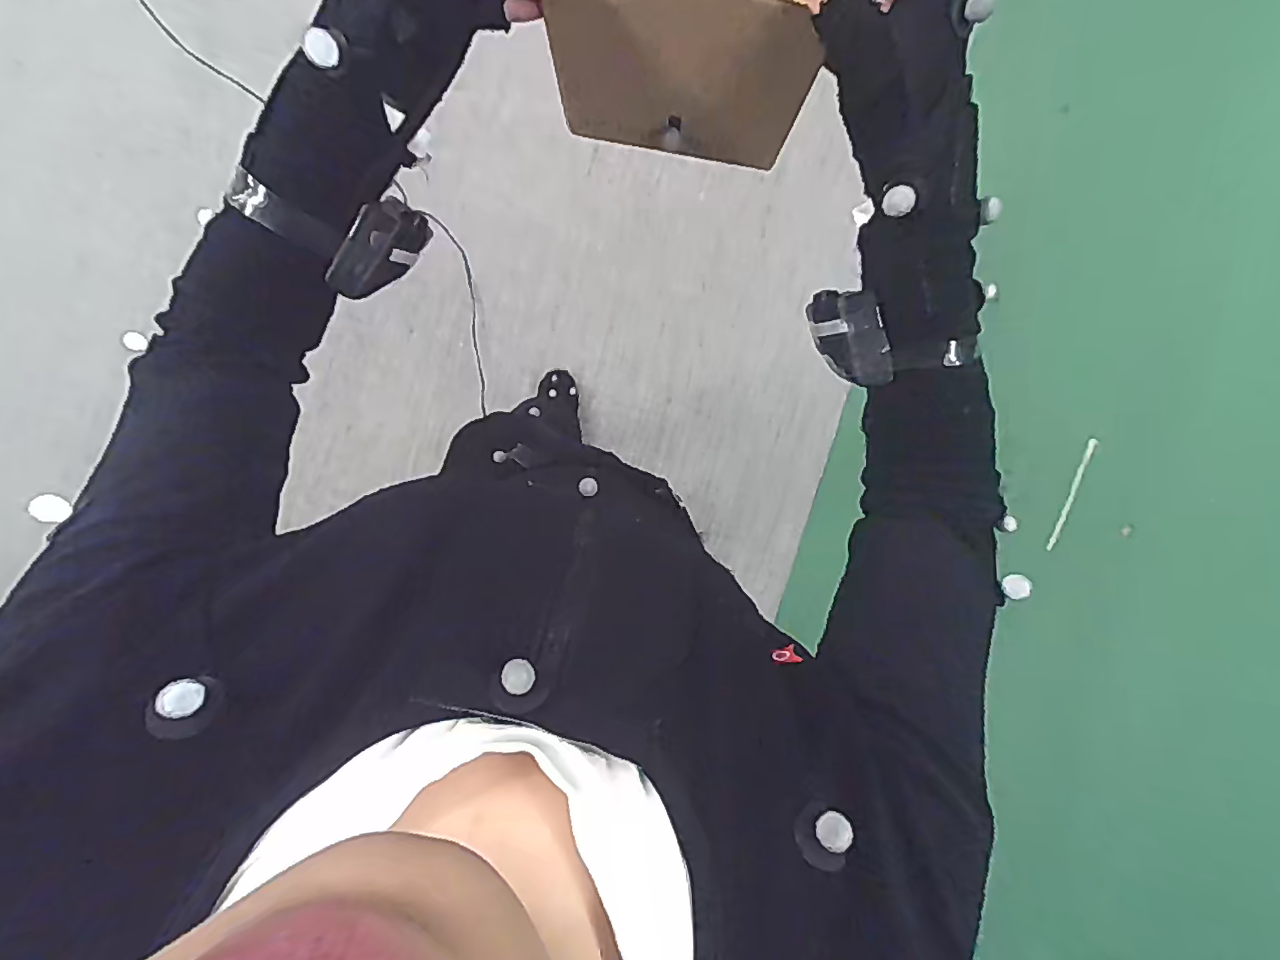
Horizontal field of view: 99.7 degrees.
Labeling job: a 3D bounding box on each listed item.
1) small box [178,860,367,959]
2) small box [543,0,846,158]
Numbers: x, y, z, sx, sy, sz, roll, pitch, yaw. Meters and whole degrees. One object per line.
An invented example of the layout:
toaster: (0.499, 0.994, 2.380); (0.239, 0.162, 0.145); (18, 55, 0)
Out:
small box: (-0.528, 0.694, 0.784); (0.179, 0.176, 0.168); (11, 88, -1)
small box: (0.039, -0.355, 0.370); (0.179, 0.176, 0.168); (10, 93, -2)
